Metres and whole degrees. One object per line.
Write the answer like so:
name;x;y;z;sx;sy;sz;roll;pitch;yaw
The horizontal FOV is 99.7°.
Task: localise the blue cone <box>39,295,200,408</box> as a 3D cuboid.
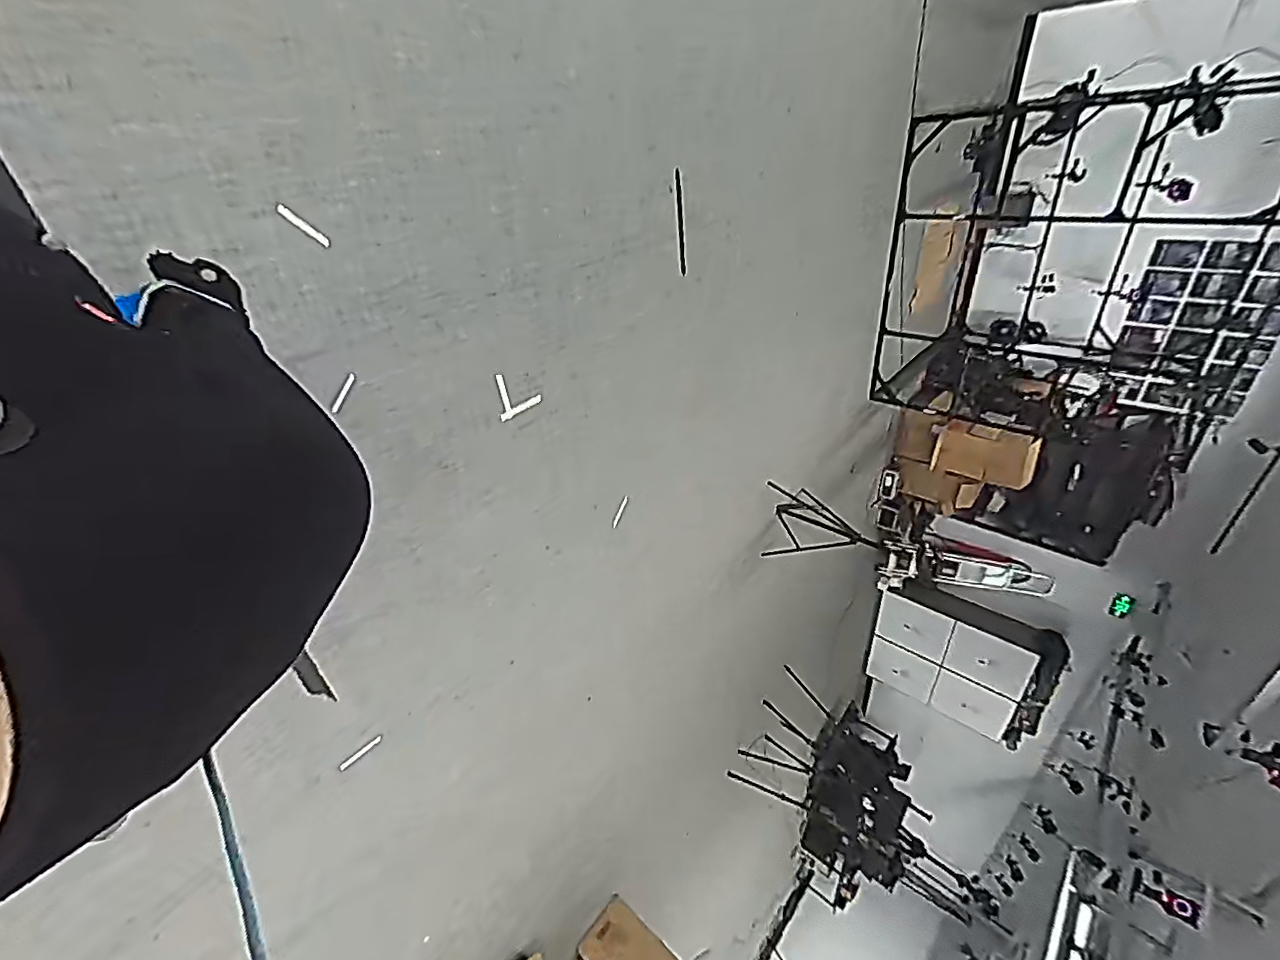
blue cone;-0.904;-0.204;0.982;0.192;0.380;0.193;-39;136;-35
